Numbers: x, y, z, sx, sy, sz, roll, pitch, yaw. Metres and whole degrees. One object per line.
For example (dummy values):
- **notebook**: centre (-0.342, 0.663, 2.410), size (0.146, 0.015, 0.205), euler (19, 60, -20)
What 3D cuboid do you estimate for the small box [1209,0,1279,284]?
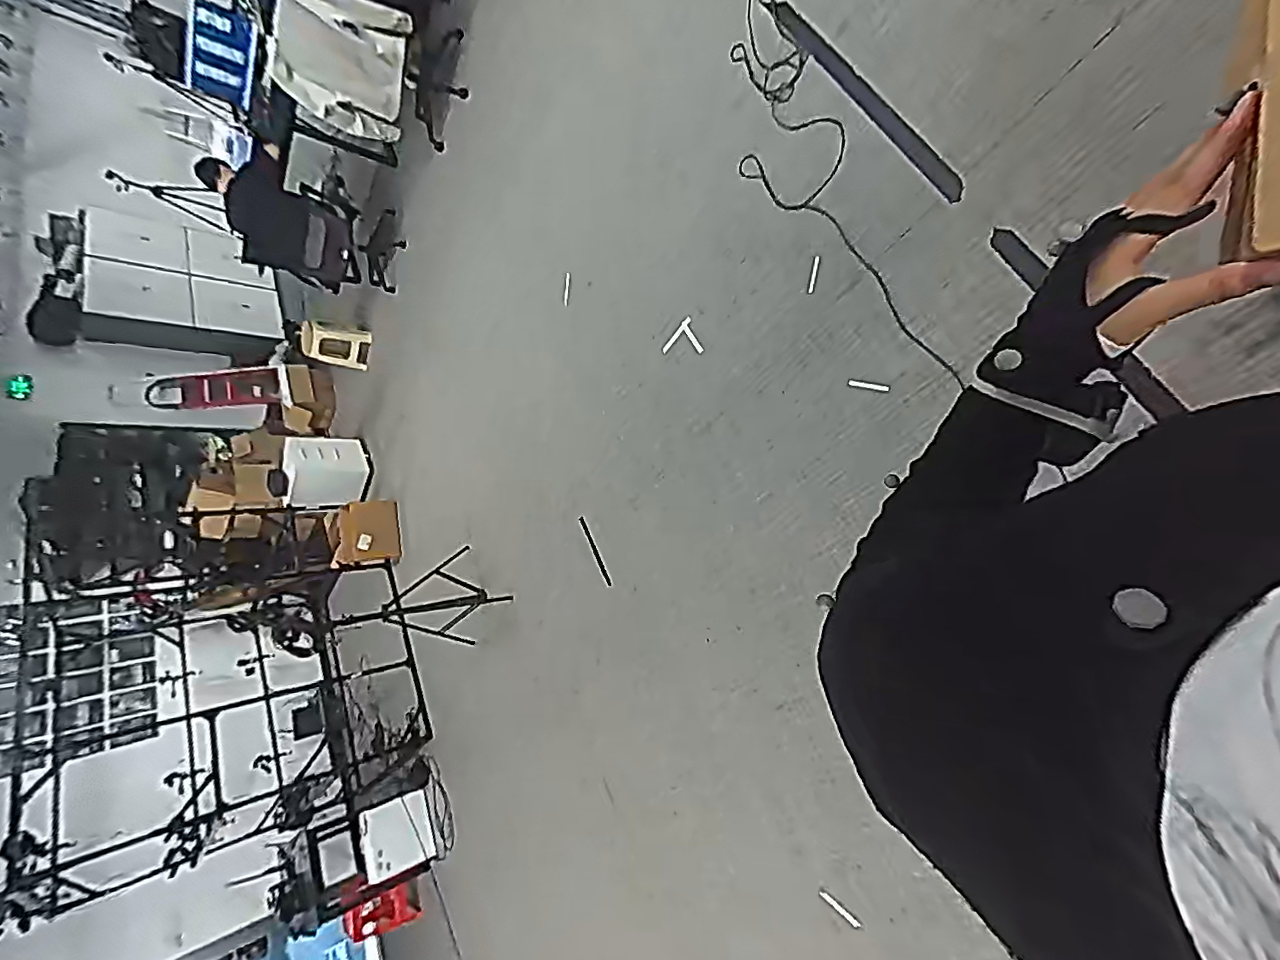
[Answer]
- **small box**: centre (0.418, -0.213, 0.273), size (0.168, 0.176, 0.179), euler (3, 100, 42)
